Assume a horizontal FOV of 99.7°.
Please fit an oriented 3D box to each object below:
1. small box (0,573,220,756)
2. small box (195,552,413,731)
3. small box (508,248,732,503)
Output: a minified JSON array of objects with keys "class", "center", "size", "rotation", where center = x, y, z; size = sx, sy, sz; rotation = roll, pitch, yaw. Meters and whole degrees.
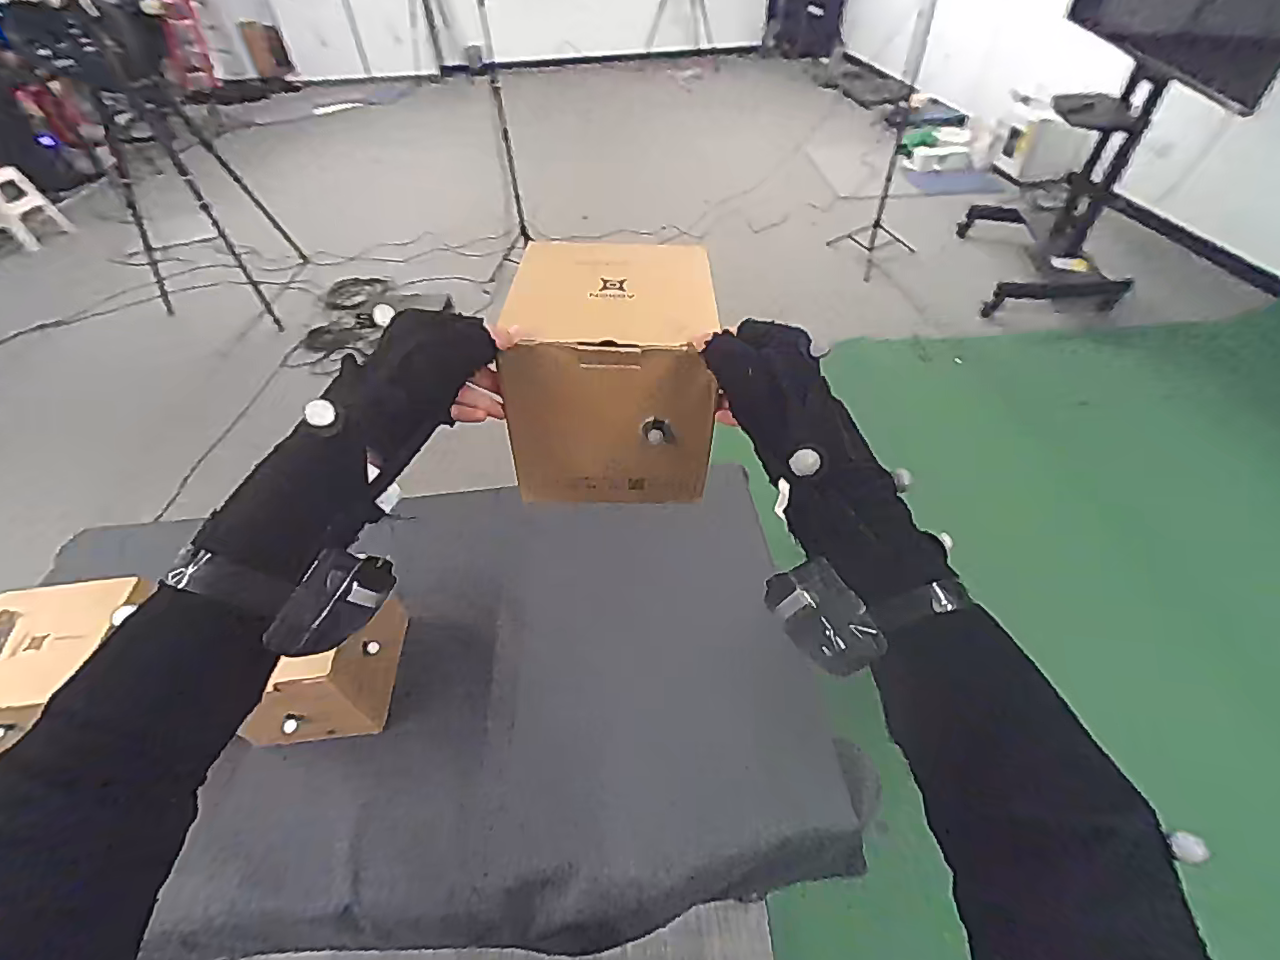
[{"class":"small box","center":[-0.717,0.246,0.716],"size":[0.179,0.176,0.168],"rotation":[-6,47,-4]},{"class":"small box","center":[-0.425,0.222,0.725],"size":[0.168,0.176,0.179],"rotation":[-5,47,-2]},{"class":"small box","center":[-0.014,-0.095,0.499],"size":[0.168,0.176,0.179],"rotation":[2,44,-1]}]
